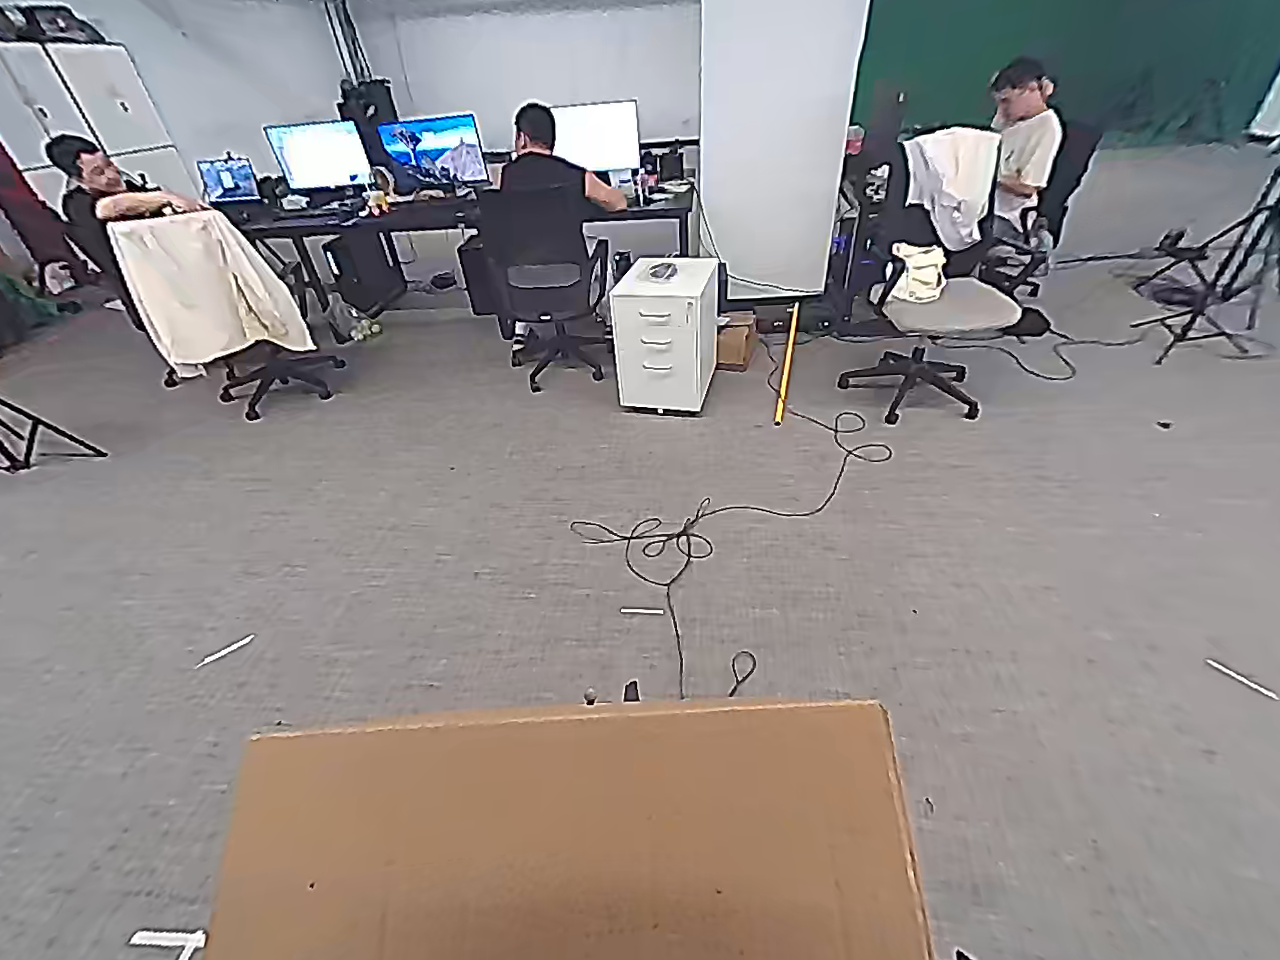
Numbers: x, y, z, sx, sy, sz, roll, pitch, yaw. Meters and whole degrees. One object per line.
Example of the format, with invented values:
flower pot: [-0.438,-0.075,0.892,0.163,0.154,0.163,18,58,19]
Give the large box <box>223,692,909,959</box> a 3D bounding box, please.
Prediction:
large box: [-0.037,0.357,0.441,0.408,0.320,0.320,-4,69,0]
